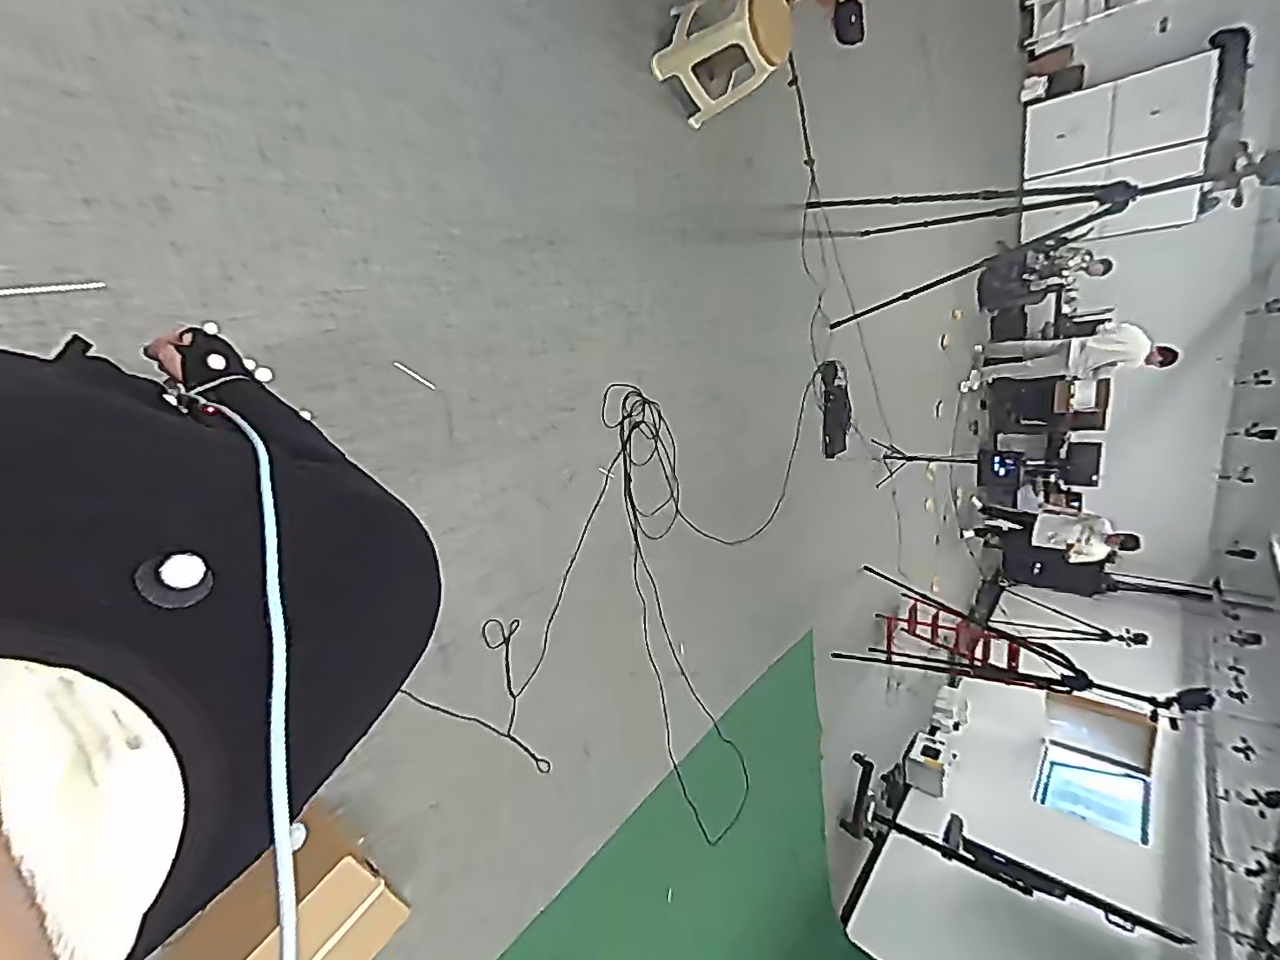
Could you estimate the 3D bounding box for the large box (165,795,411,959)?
[{"bbox_3d":[-0.903,1.147,1.413,0.408,0.320,0.320,-42,123,-34],"label":"large box"}]
